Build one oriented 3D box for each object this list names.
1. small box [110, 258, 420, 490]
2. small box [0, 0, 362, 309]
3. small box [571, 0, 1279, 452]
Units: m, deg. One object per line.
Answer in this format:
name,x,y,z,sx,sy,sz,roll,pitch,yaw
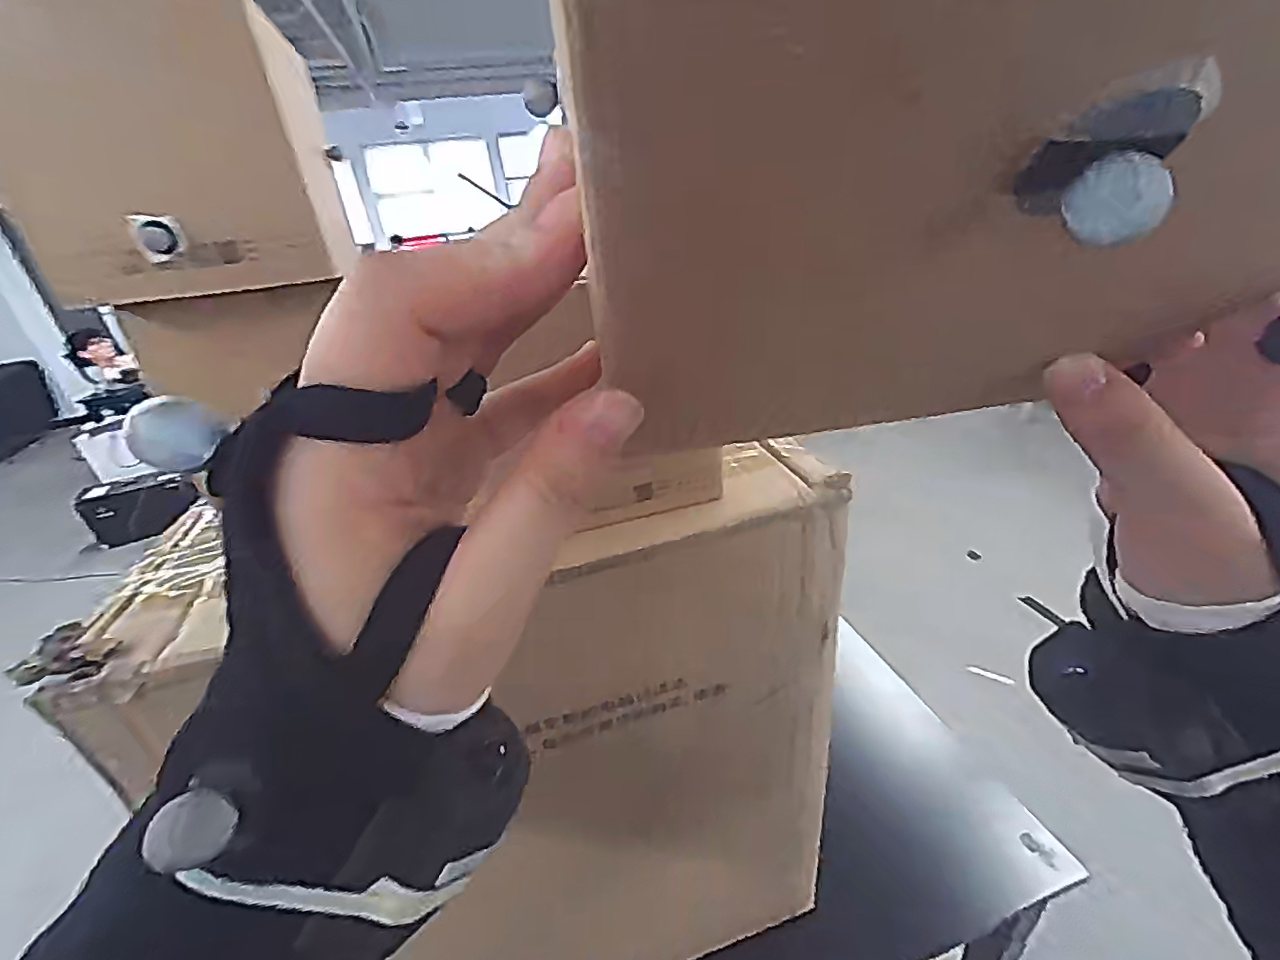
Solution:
small box,-0.315,-0.101,0.507,0.168,0.176,0.179,-12,29,-13
small box,-0.323,-0.230,0.400,0.168,0.176,0.179,-15,29,-15
small box,0.071,-0.113,0.136,0.179,0.168,0.176,-8,-13,-3
